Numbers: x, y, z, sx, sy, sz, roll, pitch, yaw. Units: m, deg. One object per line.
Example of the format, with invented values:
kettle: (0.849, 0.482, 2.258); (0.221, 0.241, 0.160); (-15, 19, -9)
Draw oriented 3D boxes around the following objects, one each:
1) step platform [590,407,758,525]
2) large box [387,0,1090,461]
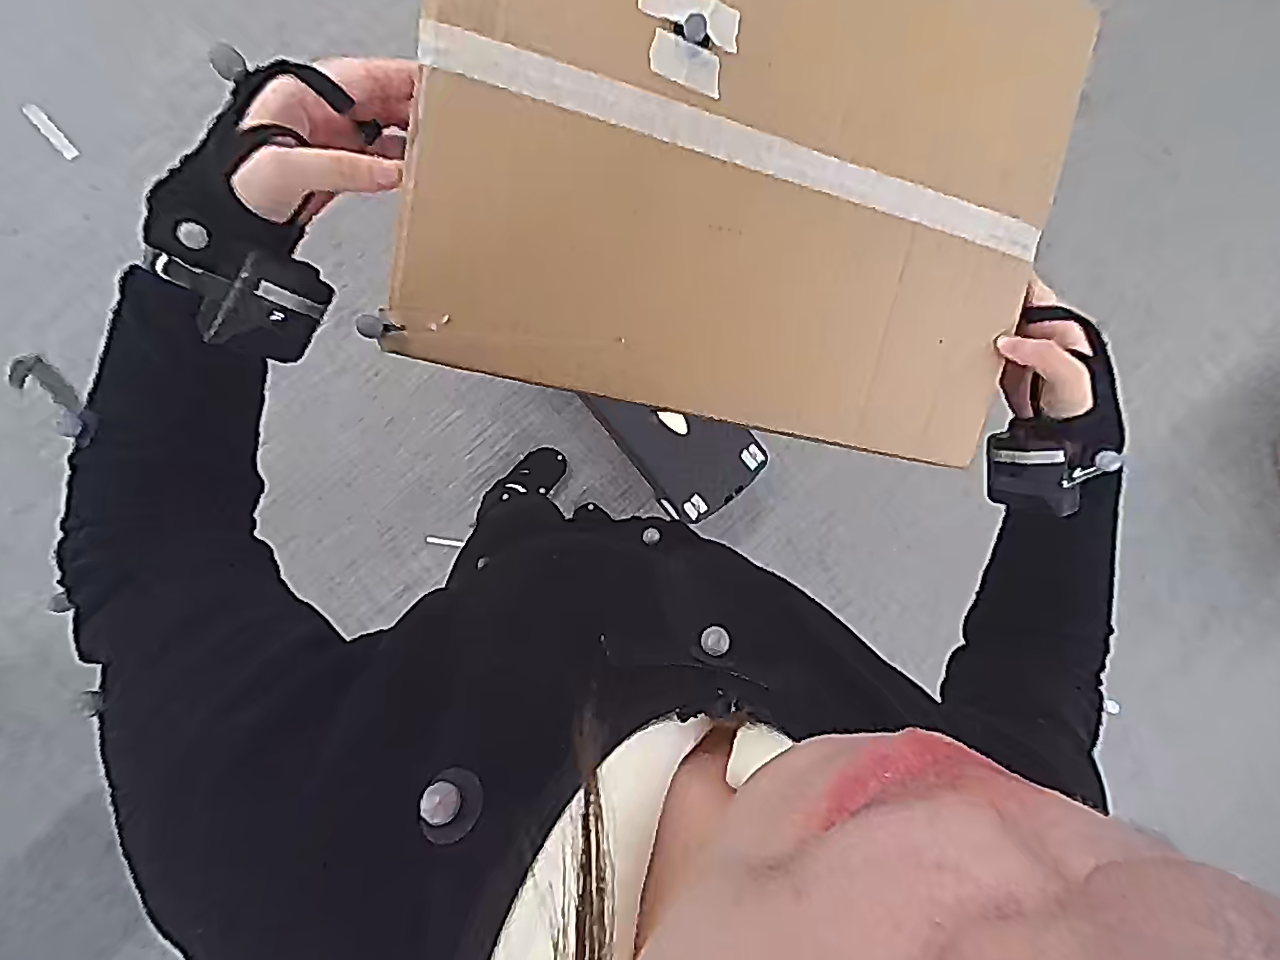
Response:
step platform: (0.011, -0.220, 1.404); (0.286, 0.204, 0.684); (-34, 94, -6)
large box: (0.045, -0.215, 0.468); (0.408, 0.320, 0.320); (8, 98, -13)
